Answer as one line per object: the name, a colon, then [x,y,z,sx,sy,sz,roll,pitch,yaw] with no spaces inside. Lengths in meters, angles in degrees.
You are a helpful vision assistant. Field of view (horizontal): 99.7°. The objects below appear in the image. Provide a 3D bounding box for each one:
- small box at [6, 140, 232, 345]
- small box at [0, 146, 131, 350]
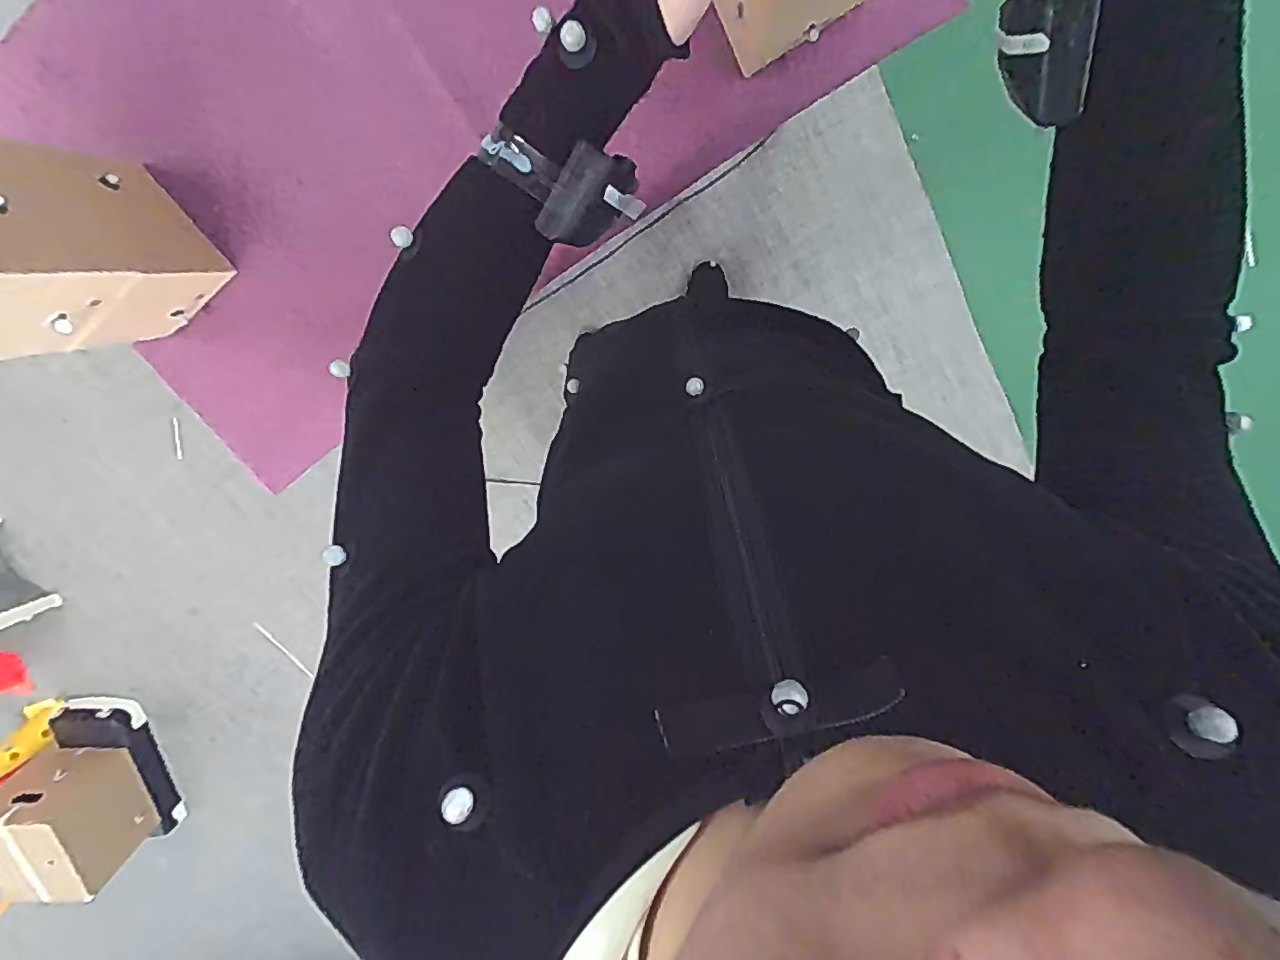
small box: [-0.719,-0.307,0.726,0.168,0.176,0.179,-32,108,14]
small box: [-0.725,-0.247,0.574,0.168,0.176,0.179,-33,107,15]
